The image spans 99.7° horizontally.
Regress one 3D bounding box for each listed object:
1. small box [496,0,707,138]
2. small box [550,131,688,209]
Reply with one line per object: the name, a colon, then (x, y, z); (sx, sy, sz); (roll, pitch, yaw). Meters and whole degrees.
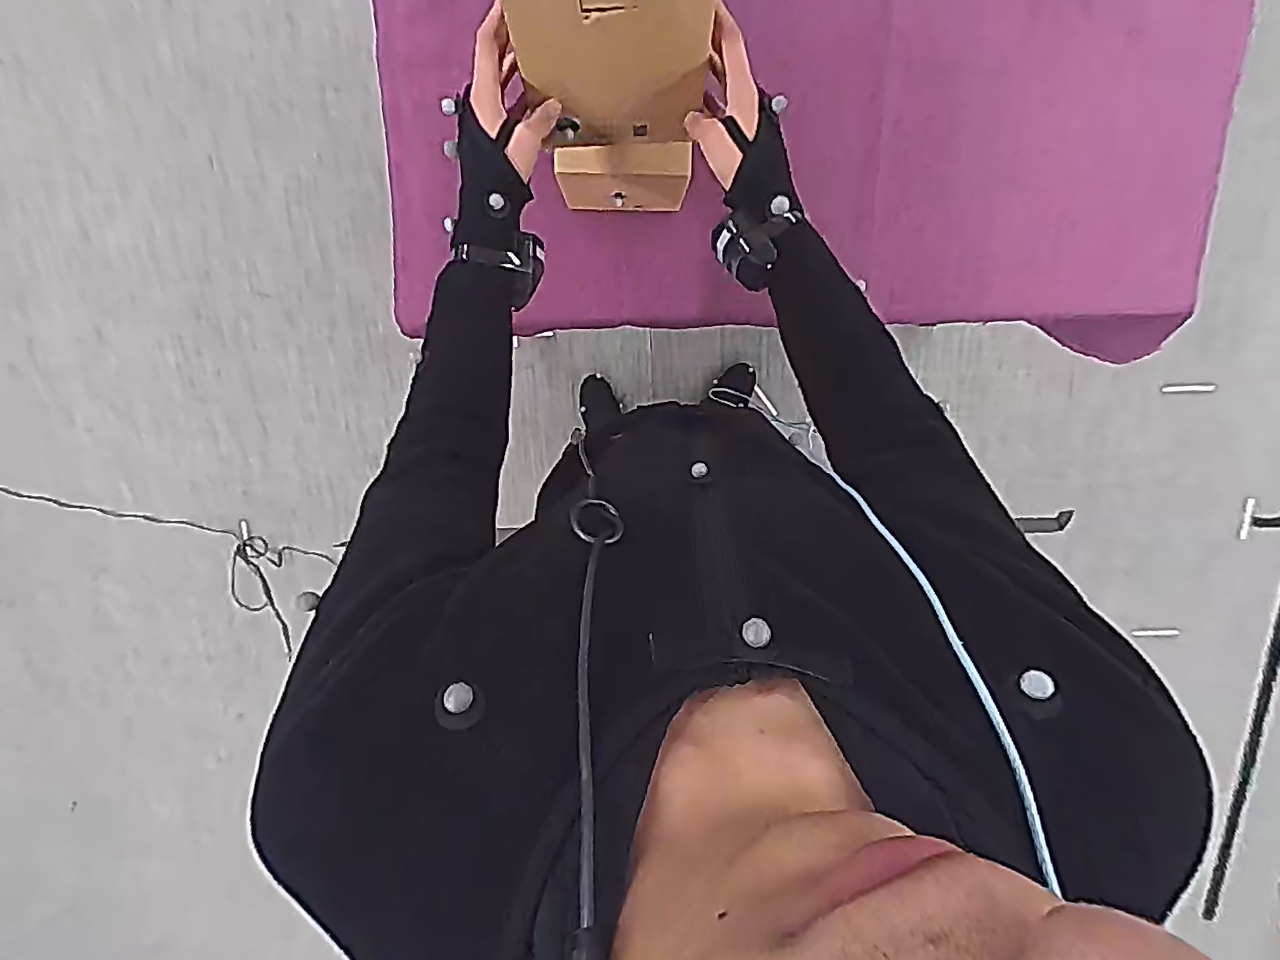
small box: (-0.028, -0.439, 0.486); (0.168, 0.176, 0.179); (-2, 83, 0)
small box: (-0.024, -0.467, 0.705); (0.168, 0.176, 0.179); (1, 103, -2)
